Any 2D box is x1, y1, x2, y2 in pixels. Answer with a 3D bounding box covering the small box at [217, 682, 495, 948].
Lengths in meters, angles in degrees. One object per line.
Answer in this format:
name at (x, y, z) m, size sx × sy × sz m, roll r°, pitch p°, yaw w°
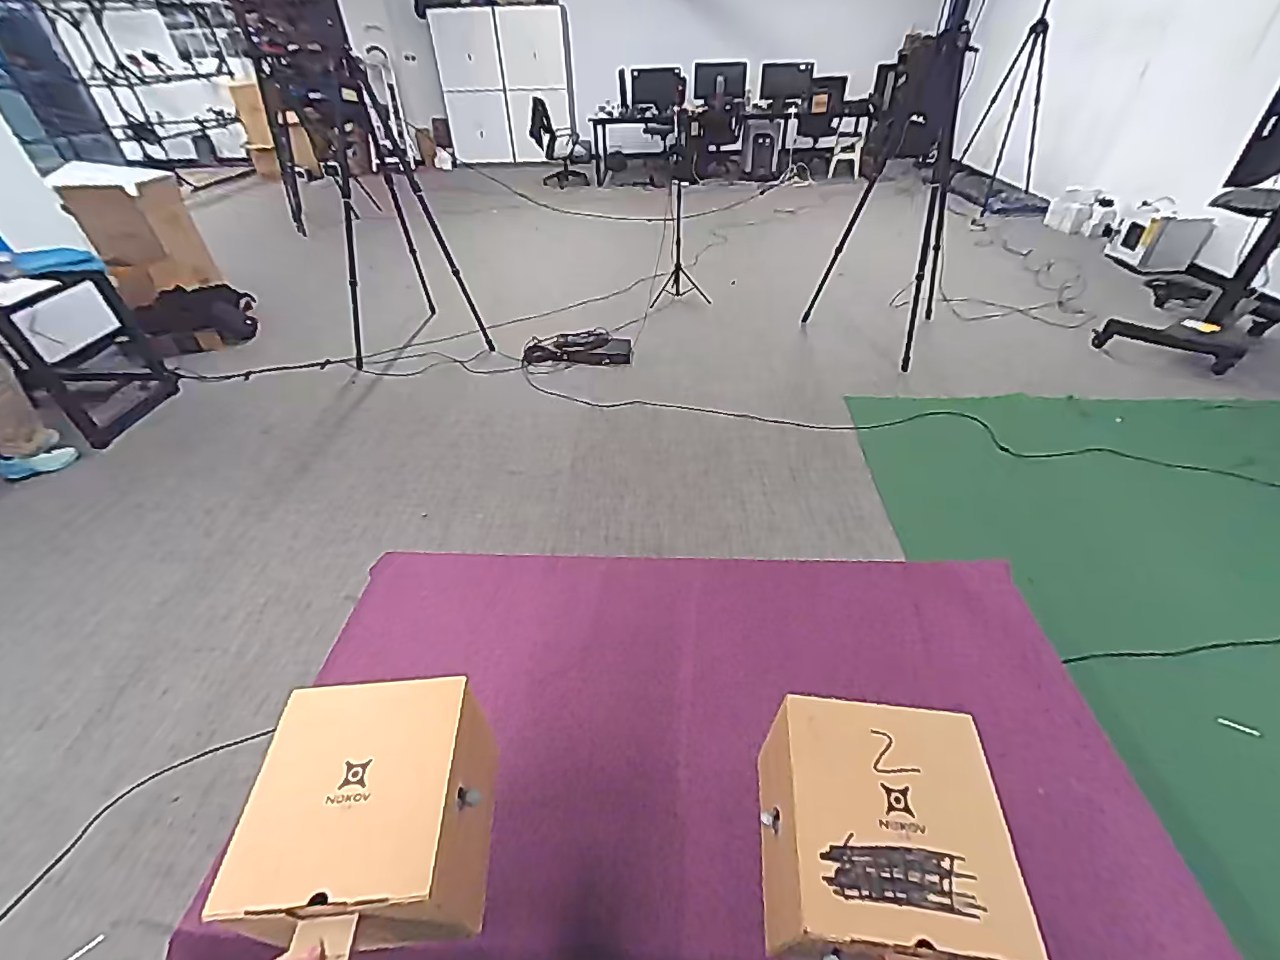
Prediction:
small box at (-0.243, 0.322, 0.523) m, size 0.168 × 0.176 × 0.179 m, roll -4°, pitch 43°, yaw -2°
